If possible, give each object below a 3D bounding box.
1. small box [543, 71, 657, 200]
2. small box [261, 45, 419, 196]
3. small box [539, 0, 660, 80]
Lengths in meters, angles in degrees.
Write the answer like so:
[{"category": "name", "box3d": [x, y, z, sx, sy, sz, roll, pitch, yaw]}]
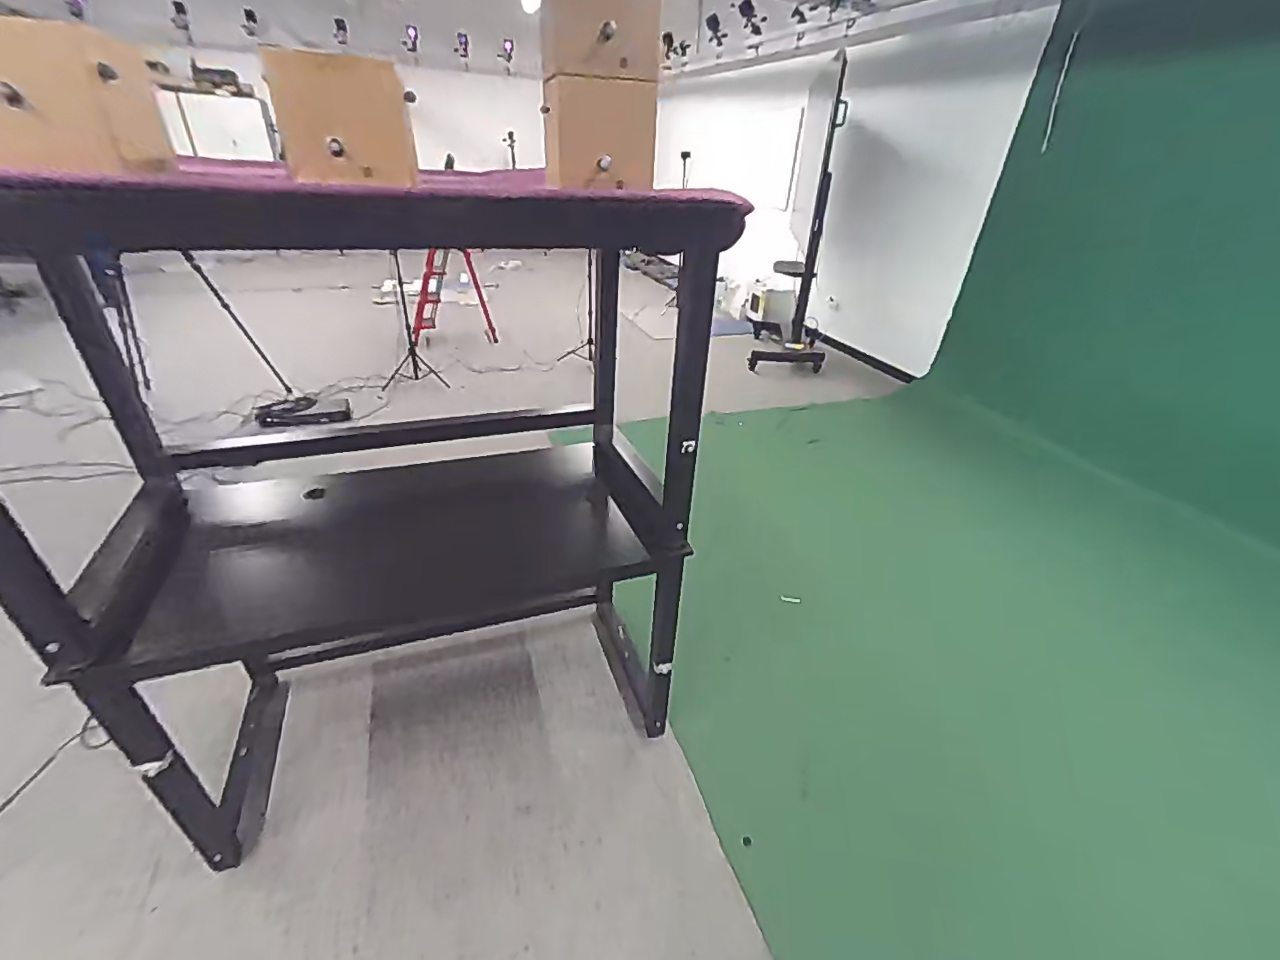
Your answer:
[{"category": "small box", "box3d": [-0.076, -0.594, 0.942, 0.168, 0.176, 0.179, -7, 33, -14]}, {"category": "small box", "box3d": [-0.441, -0.539, 0.829, 0.168, 0.176, 0.179, -7, 32, -15]}, {"category": "small box", "box3d": [-0.070, -0.735, 0.858, 0.168, 0.176, 0.179, -7, 33, -14]}]
